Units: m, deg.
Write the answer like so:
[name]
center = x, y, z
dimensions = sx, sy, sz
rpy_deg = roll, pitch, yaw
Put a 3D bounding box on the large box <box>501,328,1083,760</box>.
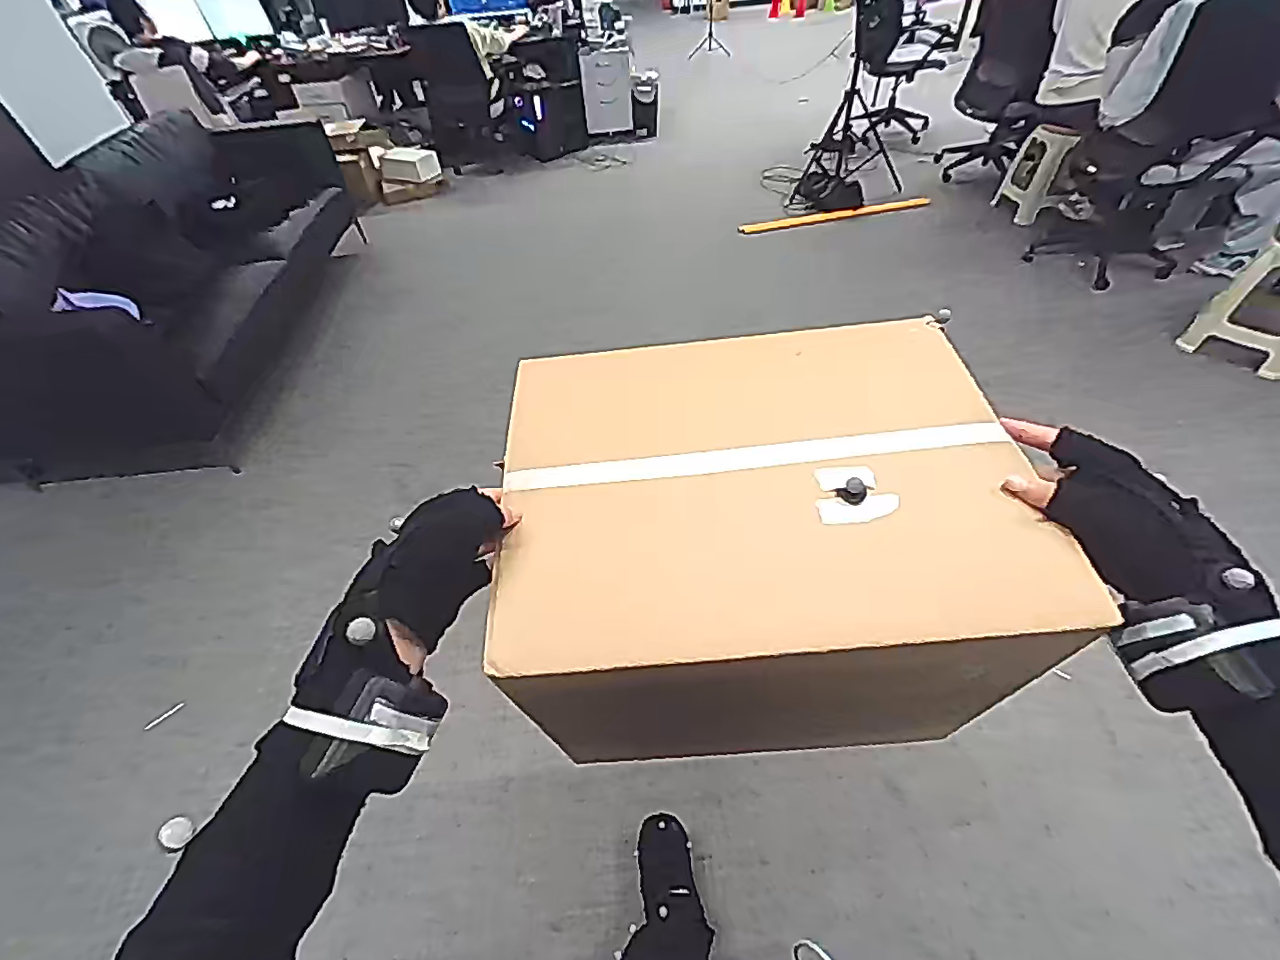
[large box]
center = 0.102, 0.080, 0.570
dimensions = 0.408, 0.320, 0.320
rpy_deg = -6, 53, 2
